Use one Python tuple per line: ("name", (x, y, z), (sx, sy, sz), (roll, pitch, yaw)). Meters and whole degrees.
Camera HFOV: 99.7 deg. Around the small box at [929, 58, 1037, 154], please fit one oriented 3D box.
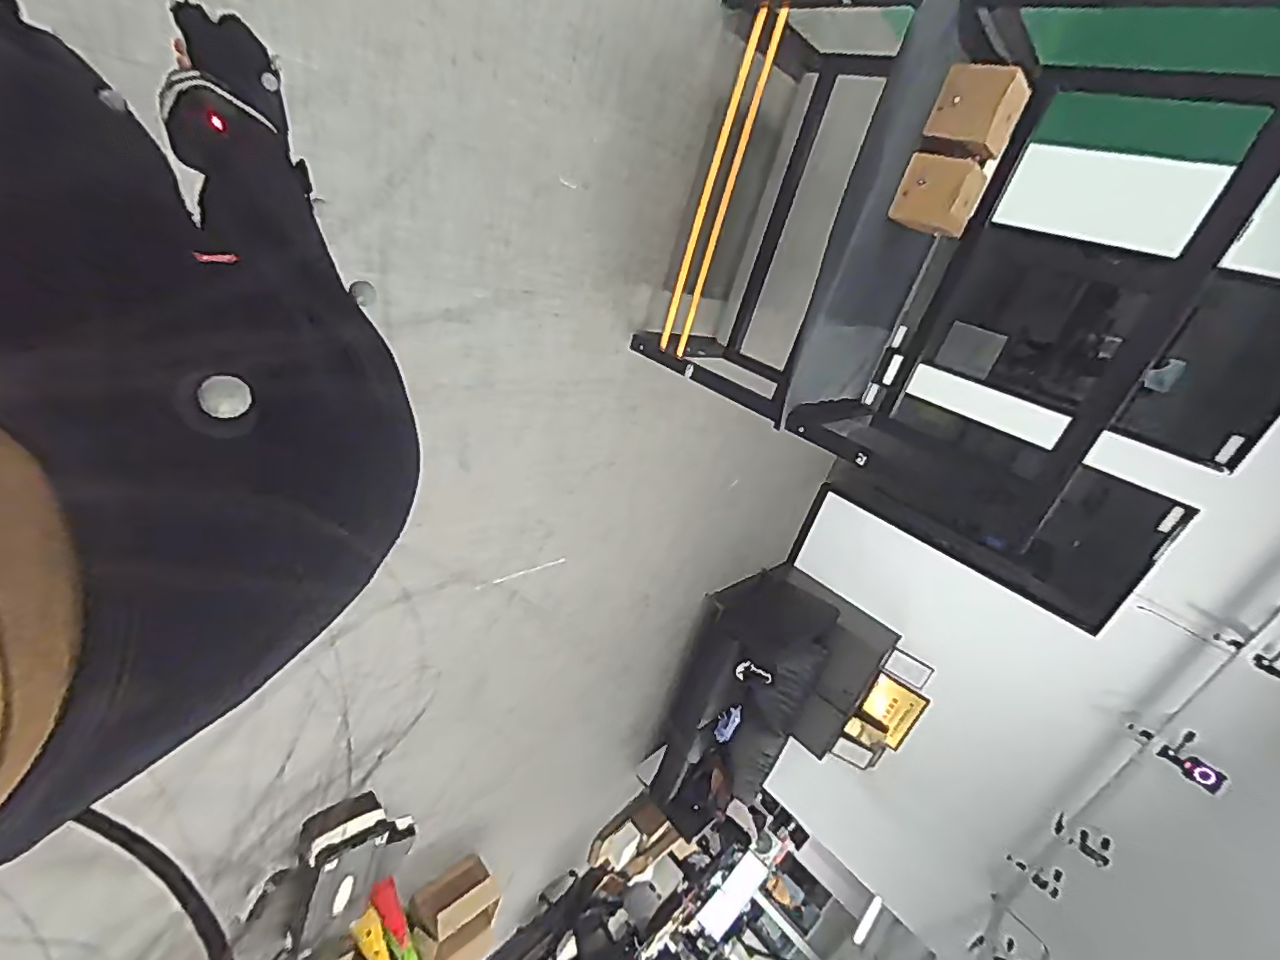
("small box", (0.912, -0.998, 1.443), (0.179, 0.176, 0.168), (-12, 128, -46))
